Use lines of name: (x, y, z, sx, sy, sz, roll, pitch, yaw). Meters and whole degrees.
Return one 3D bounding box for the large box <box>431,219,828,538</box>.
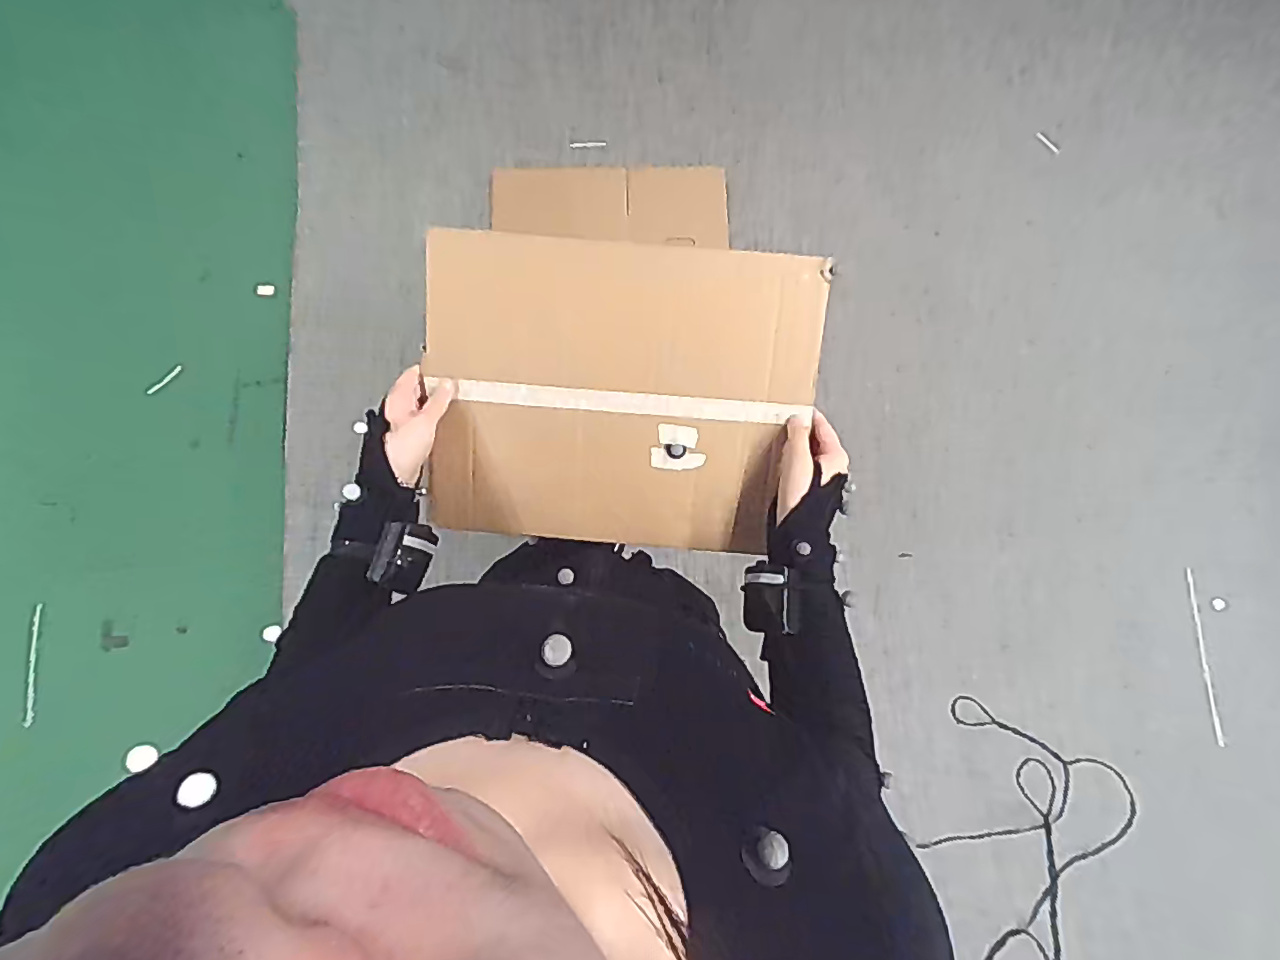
large box: (-0.020, -0.125, 0.711, 0.408, 0.320, 0.320, 4, 103, -1)
